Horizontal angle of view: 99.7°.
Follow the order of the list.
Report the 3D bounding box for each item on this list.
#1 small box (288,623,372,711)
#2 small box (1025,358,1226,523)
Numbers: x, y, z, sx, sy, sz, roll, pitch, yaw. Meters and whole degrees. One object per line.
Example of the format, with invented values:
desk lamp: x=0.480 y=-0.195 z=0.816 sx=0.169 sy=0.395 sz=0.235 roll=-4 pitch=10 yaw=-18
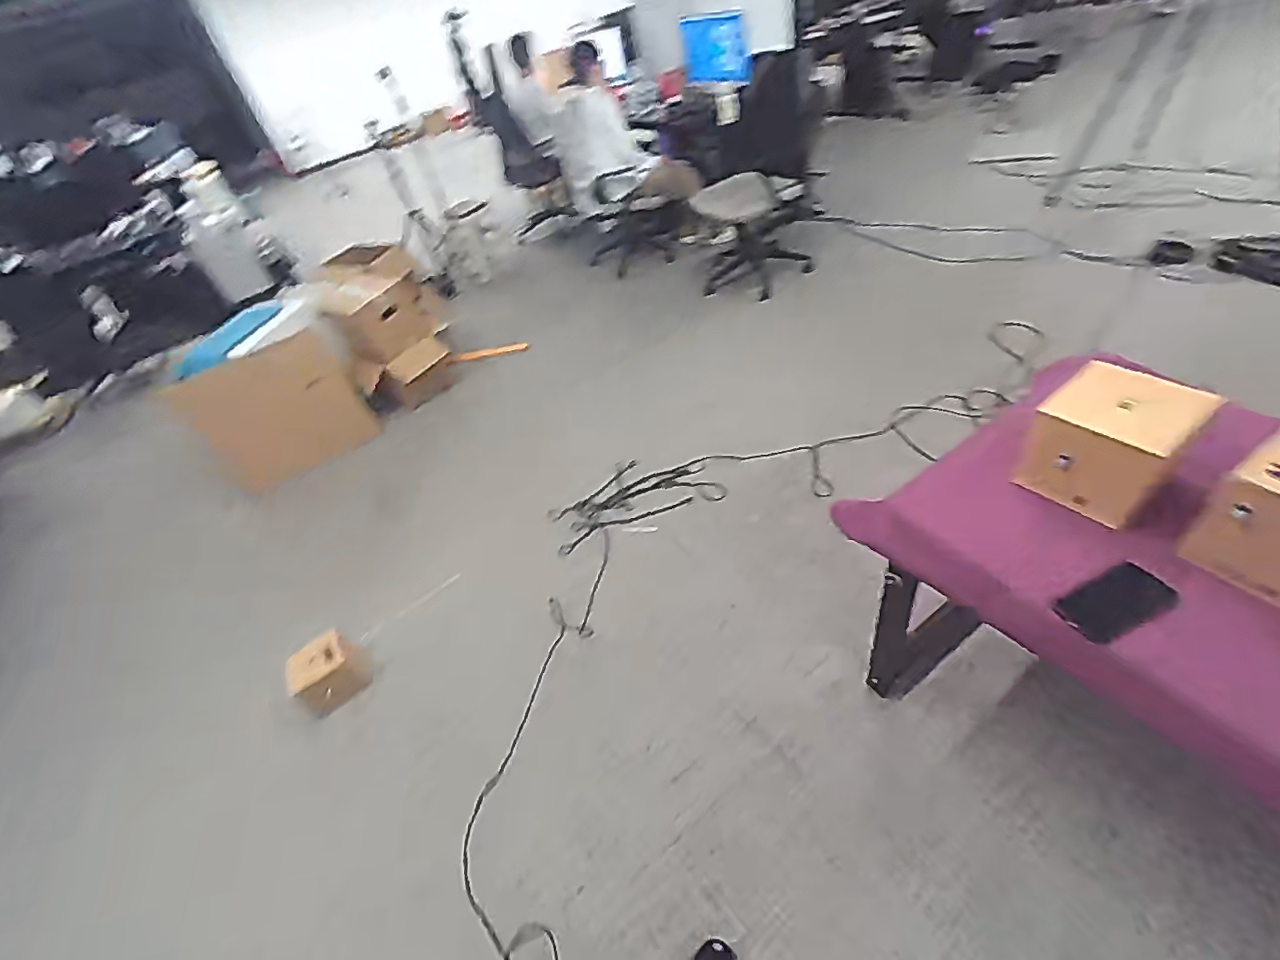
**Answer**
small box: x=-1.006 y=0.612 z=1.769 sx=0.179 sy=0.176 sz=0.168 roll=-33 pitch=45 yaw=-16
small box: x=0.760 y=-0.062 z=0.870 sx=0.179 sy=0.176 sz=0.168 roll=-33 pitch=45 yaw=-18
